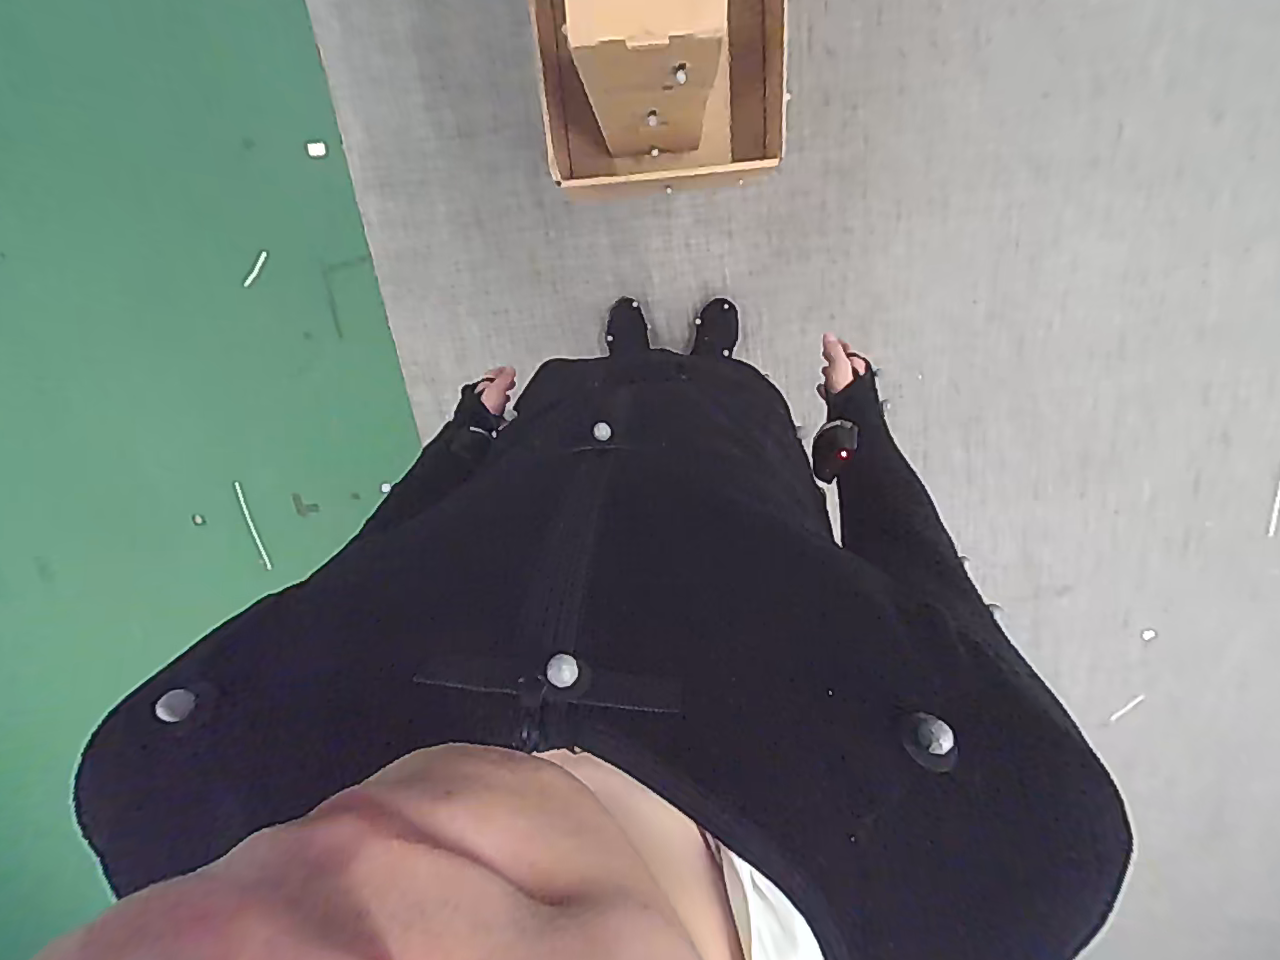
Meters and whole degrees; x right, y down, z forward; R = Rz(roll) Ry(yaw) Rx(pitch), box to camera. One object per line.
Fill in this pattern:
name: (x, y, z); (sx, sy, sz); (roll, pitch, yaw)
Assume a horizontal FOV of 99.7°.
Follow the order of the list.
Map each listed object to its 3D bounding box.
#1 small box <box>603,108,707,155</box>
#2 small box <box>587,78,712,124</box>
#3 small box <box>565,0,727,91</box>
small box: (0.023, -0.667, 0.900); (0.168, 0.176, 0.179); (-2, 109, 5)
small box: (0.014, -0.613, 0.747); (0.168, 0.176, 0.179); (-3, 110, 4)
small box: (0.009, -0.554, 0.594); (0.168, 0.176, 0.179); (-1, 109, 3)
